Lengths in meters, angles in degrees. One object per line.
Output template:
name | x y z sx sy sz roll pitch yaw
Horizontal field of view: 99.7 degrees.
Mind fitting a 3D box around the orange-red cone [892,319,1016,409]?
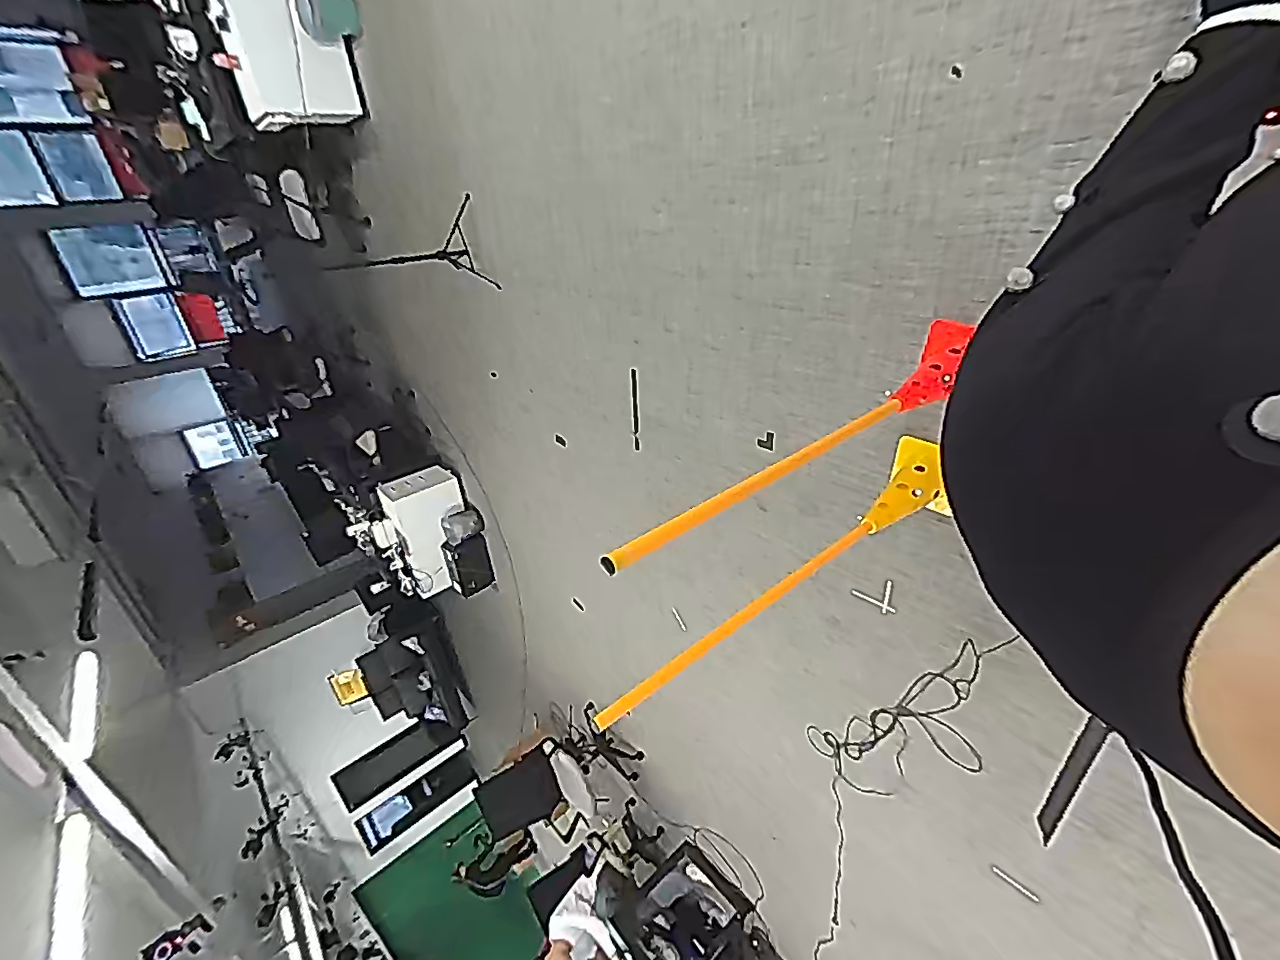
orange-red cone | 0.693 -0.236 1.274 0.198 0.360 0.199 32 133 37
